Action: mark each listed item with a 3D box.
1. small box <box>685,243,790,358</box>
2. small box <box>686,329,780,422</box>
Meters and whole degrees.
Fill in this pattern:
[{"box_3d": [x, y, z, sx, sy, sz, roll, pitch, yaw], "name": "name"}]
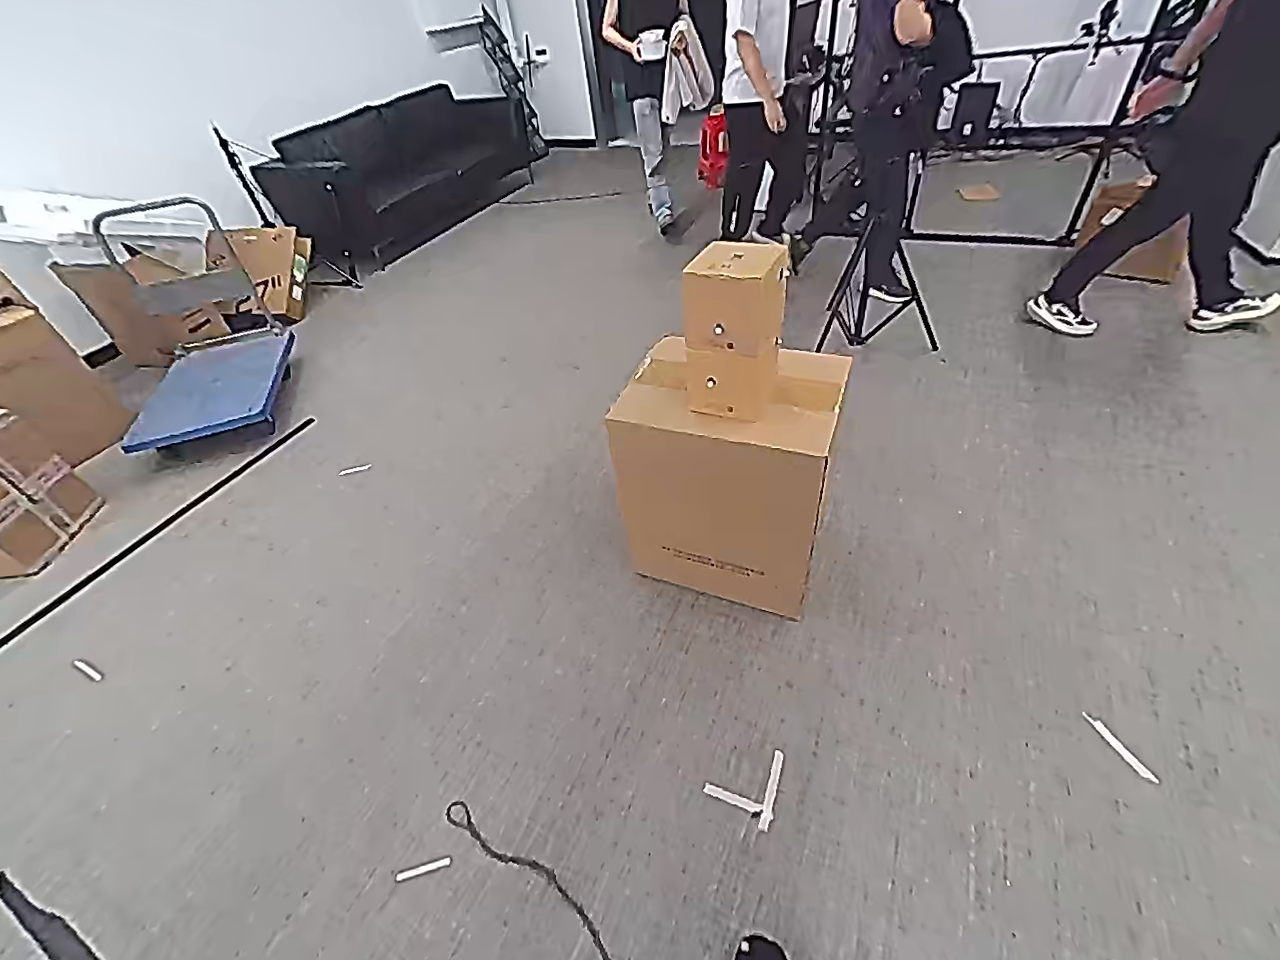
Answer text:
[{"box_3d": [0.206, -0.381, 1.142, 0.168, 0.176, 0.179, 15, 47, 25], "name": "small box"}, {"box_3d": [0.219, -0.256, 1.249, 0.168, 0.176, 0.179, 14, 46, 23], "name": "small box"}]
